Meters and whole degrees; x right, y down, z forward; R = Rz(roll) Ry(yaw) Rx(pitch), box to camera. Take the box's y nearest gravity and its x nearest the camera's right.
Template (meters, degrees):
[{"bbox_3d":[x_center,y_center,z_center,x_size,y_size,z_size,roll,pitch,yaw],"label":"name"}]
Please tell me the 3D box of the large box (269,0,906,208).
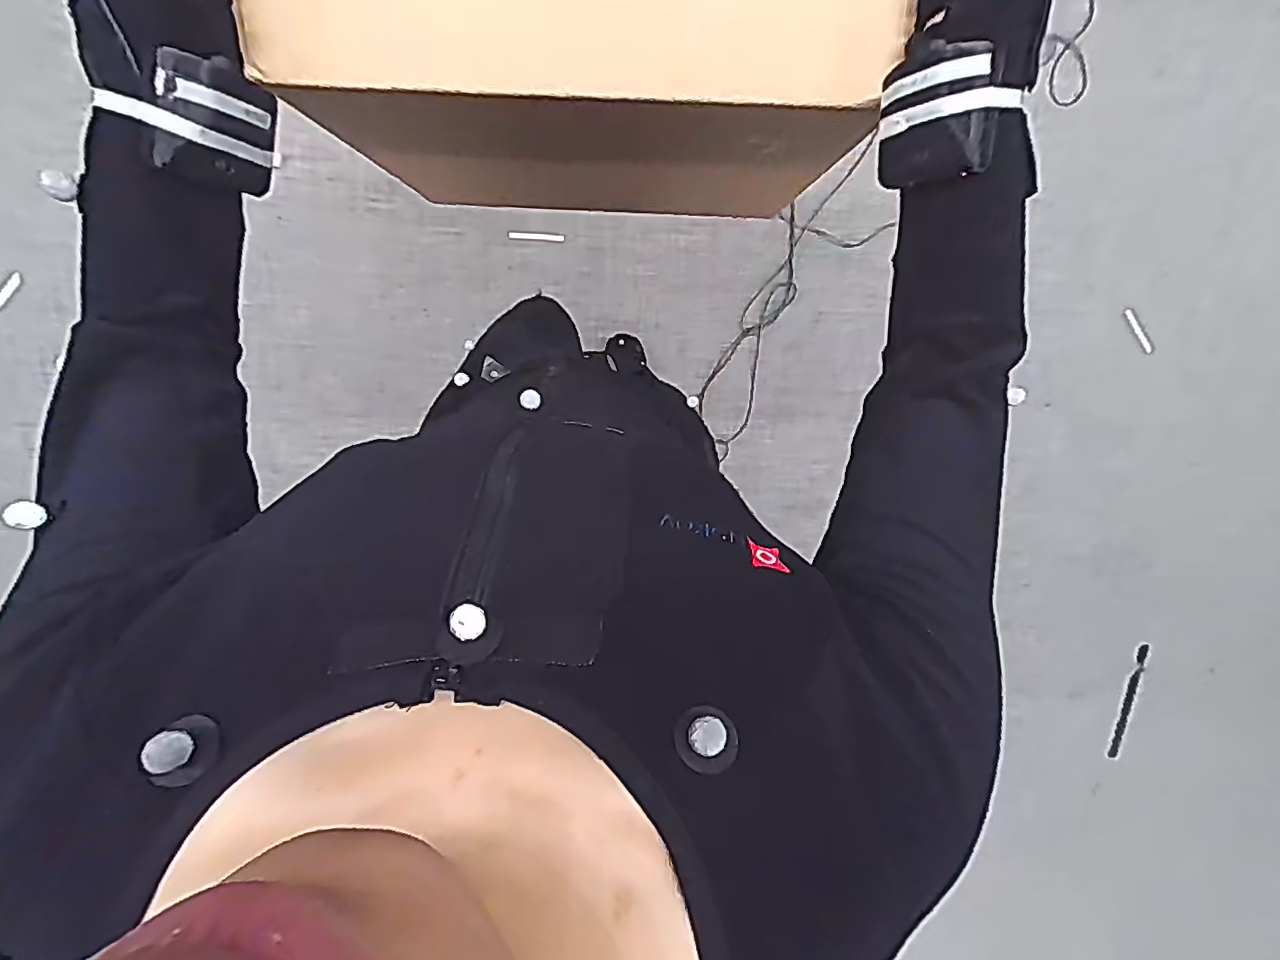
[{"bbox_3d":[-0.034,-0.435,0.456,0.408,0.320,0.320,1,105,-1],"label":"large box"}]
